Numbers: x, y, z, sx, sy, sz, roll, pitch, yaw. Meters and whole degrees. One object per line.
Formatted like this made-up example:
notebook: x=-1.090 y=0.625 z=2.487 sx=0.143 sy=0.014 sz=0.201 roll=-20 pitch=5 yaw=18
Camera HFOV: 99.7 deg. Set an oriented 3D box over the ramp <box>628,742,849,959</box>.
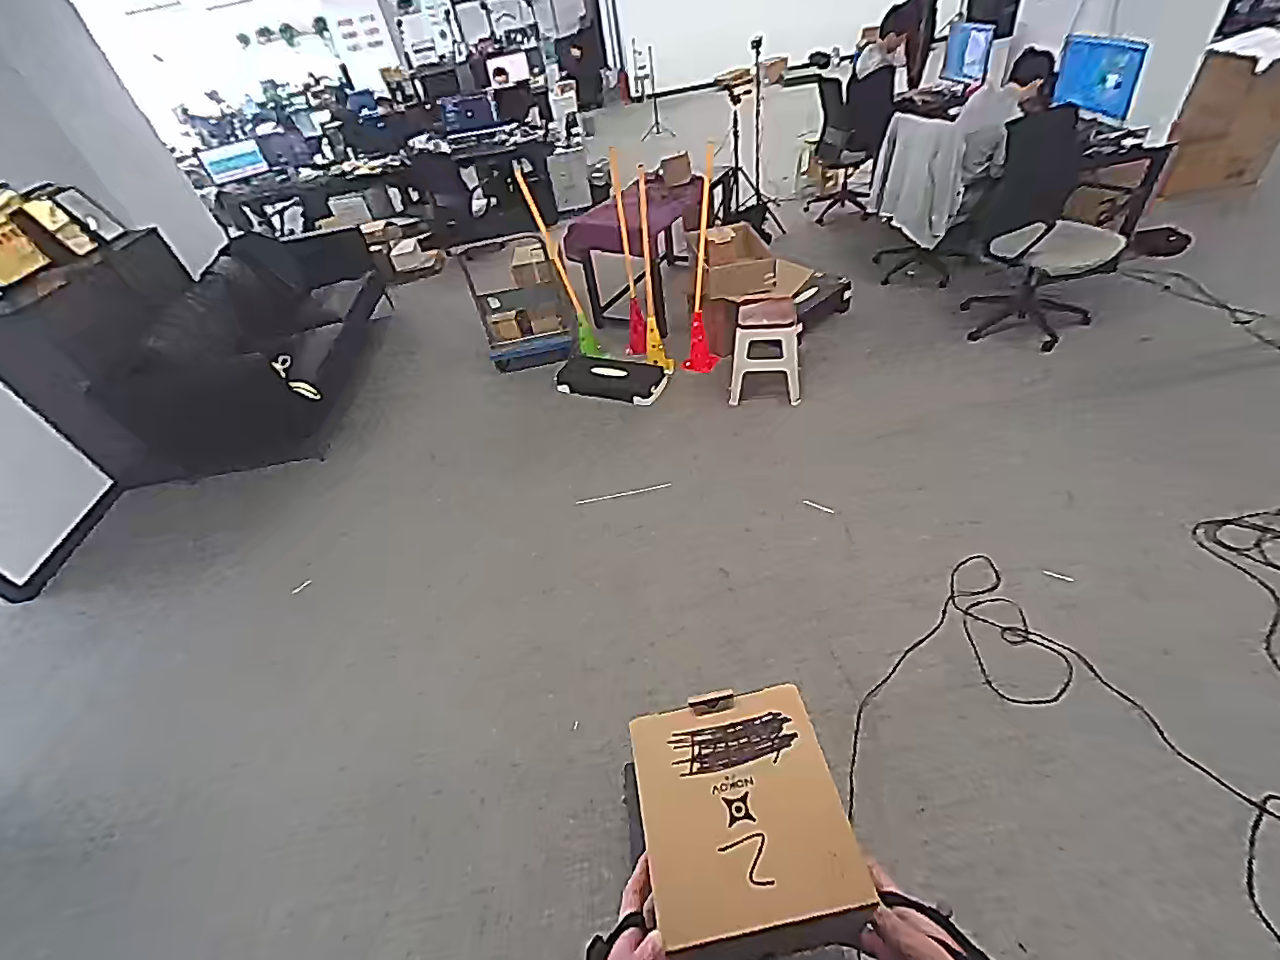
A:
ramp: x=0.243 y=1.141 z=1.298 sx=0.509 sy=0.206 sz=0.991 roll=-13 pitch=42 yaw=0
